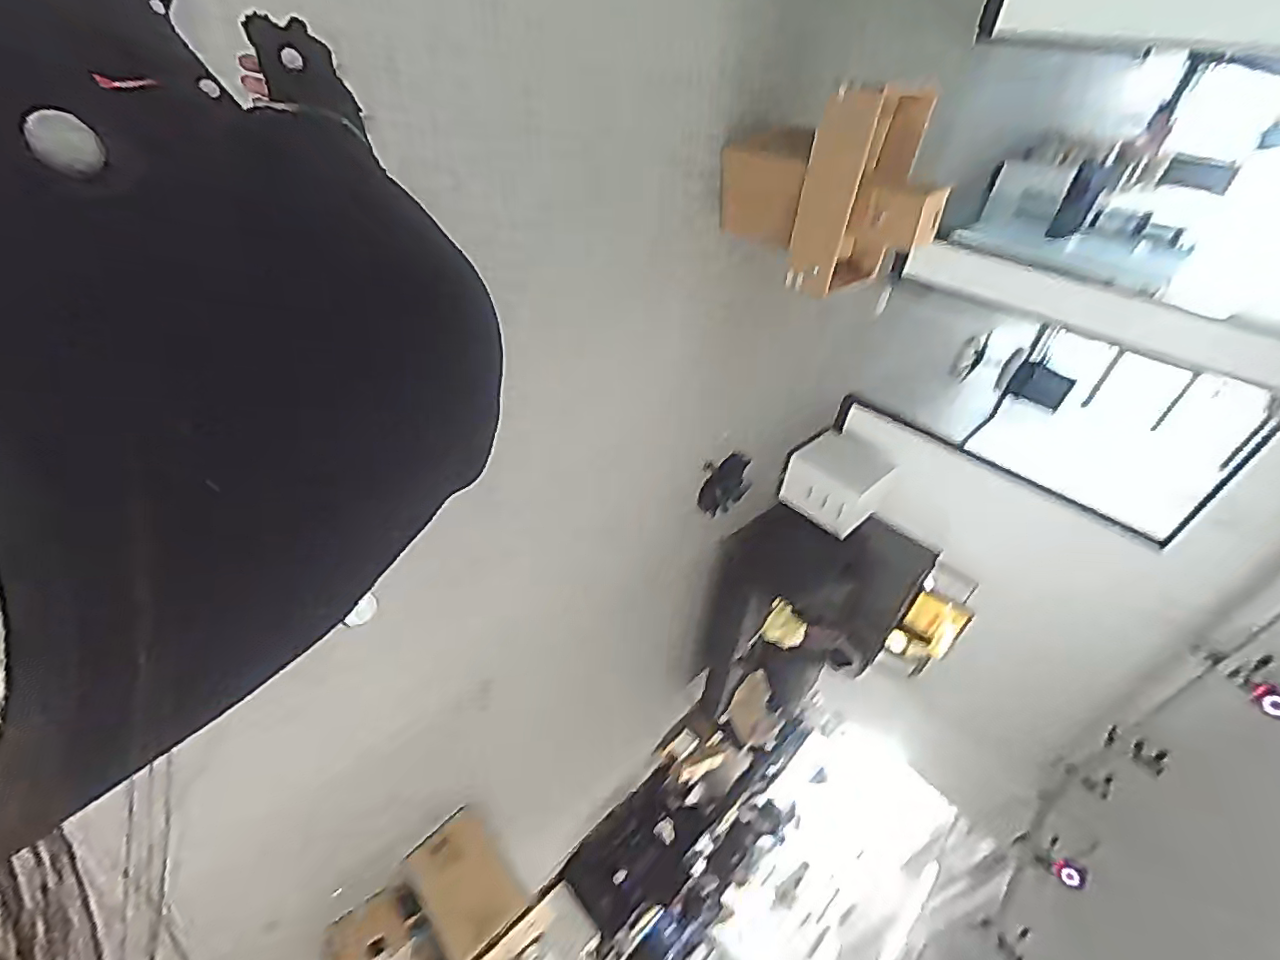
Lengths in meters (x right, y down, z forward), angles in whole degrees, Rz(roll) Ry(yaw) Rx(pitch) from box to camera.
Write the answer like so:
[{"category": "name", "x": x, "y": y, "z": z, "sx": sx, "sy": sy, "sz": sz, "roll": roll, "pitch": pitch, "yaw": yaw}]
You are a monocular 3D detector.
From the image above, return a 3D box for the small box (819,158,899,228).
[{"category": "small box", "x": 0.741, "y": -0.981, "z": 1.841, "sx": 0.179, "sy": 0.176, "sz": 0.168, "roll": -34, "pitch": 141, "yaw": -29}]

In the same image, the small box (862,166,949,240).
[{"category": "small box", "x": 0.857, "y": -0.903, "z": 1.755, "sx": 0.179, "sy": 0.176, "sz": 0.168, "roll": -34, "pitch": 141, "yaw": -30}]
